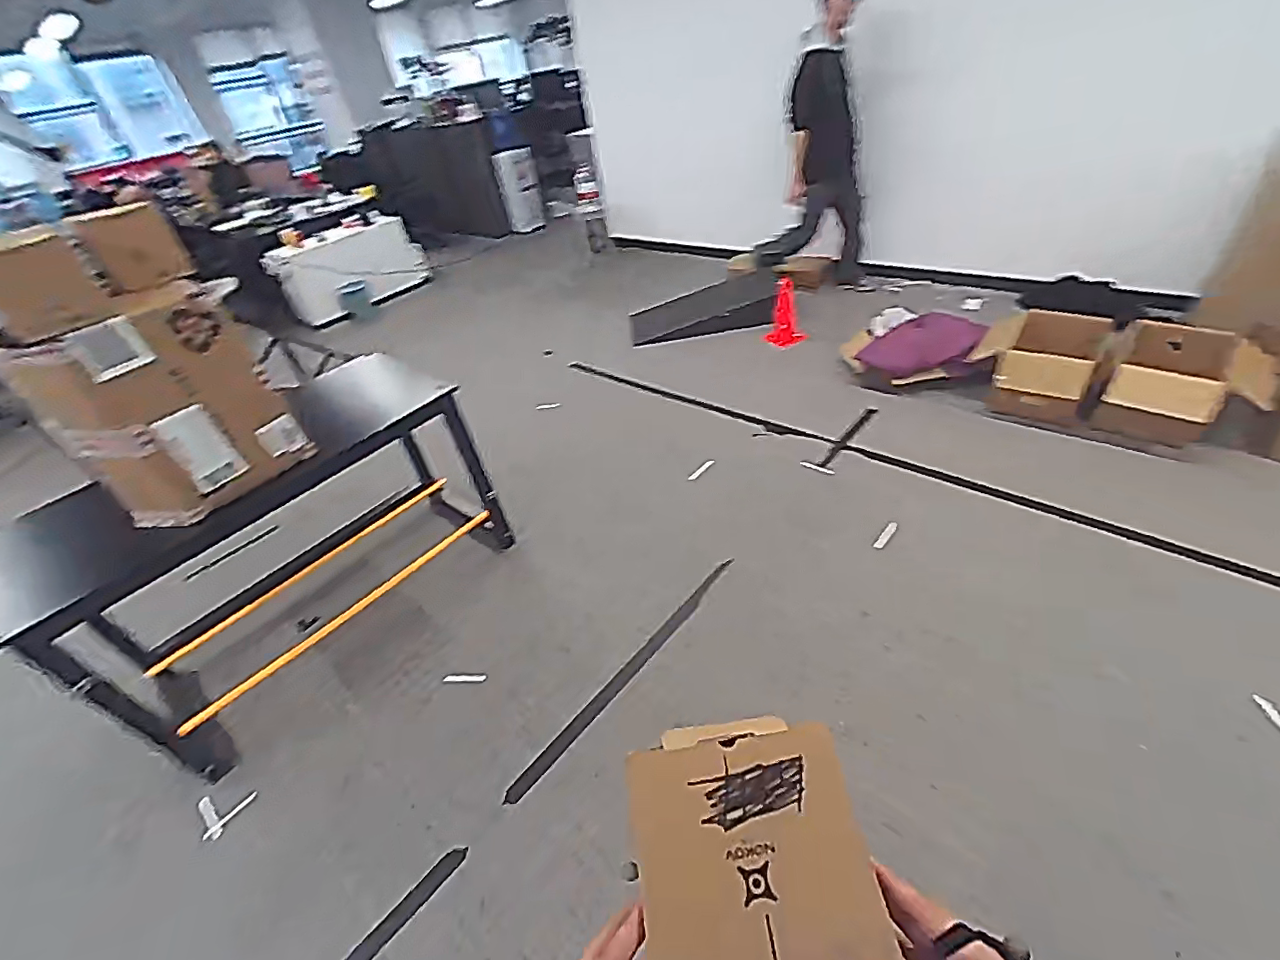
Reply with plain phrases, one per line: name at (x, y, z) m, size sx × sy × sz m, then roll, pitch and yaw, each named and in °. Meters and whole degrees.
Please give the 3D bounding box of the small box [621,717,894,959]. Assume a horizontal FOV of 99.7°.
small box at (0.077, 0.324, 0.451) m, size 0.168 × 0.176 × 0.179 m, roll -9°, pitch 52°, yaw -4°

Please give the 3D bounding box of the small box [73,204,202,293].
small box at (-1.267, -0.588, 1.373) m, size 0.179 × 0.176 × 0.168 m, roll 22°, pitch 46°, yaw 34°

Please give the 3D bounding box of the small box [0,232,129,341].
small box at (-1.240, -0.408, 1.134) m, size 0.179 × 0.176 × 0.168 m, roll 21°, pitch 47°, yaw 32°
